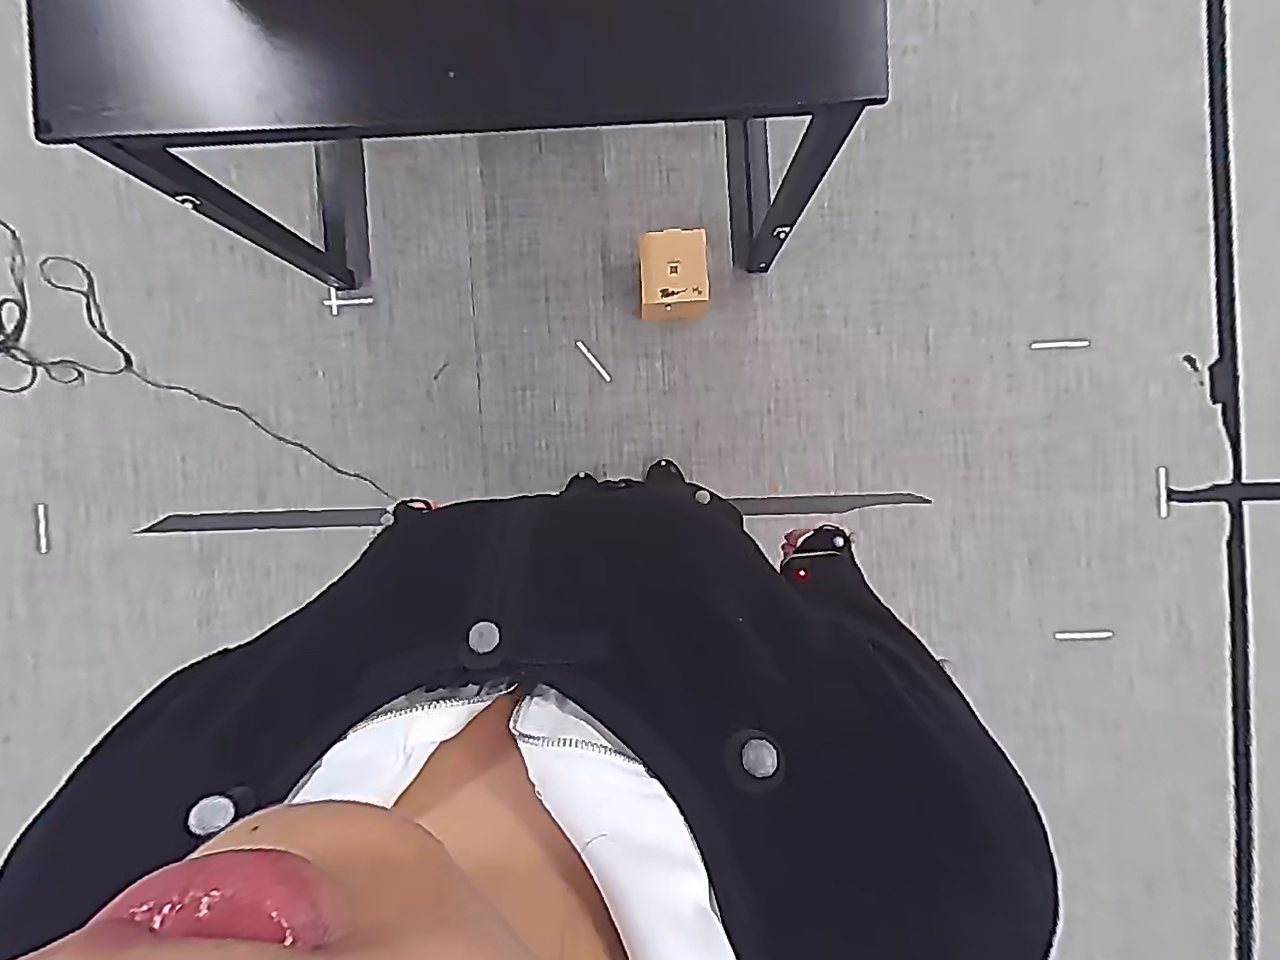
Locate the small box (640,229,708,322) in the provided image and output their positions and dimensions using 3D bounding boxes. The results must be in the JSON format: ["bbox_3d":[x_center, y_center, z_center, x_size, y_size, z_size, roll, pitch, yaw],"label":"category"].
[{"bbox_3d":[0.084,-0.524,1.401,0.168,0.176,0.179,-3,91,2],"label":"small box"}]
